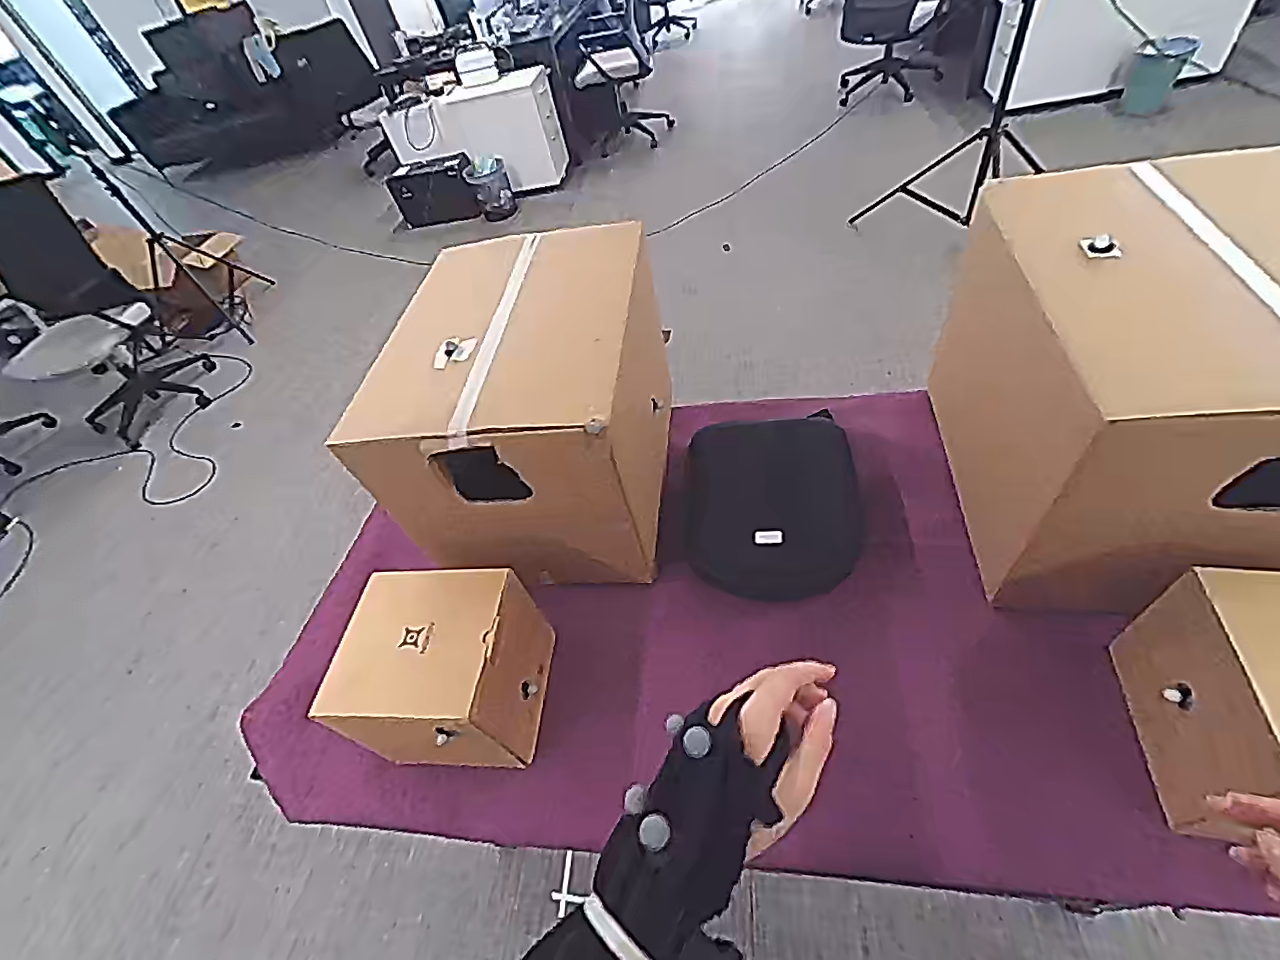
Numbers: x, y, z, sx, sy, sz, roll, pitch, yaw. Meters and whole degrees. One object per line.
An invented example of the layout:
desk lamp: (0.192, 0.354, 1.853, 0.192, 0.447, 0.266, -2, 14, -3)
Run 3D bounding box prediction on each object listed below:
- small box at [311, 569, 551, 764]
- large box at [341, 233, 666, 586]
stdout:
small box: (-0.222, 0.220, 0.629, 0.179, 0.176, 0.168, -4, 48, 10)
large box: (-0.136, -0.095, 0.785, 0.320, 0.320, 0.408, -4, 52, 11)
